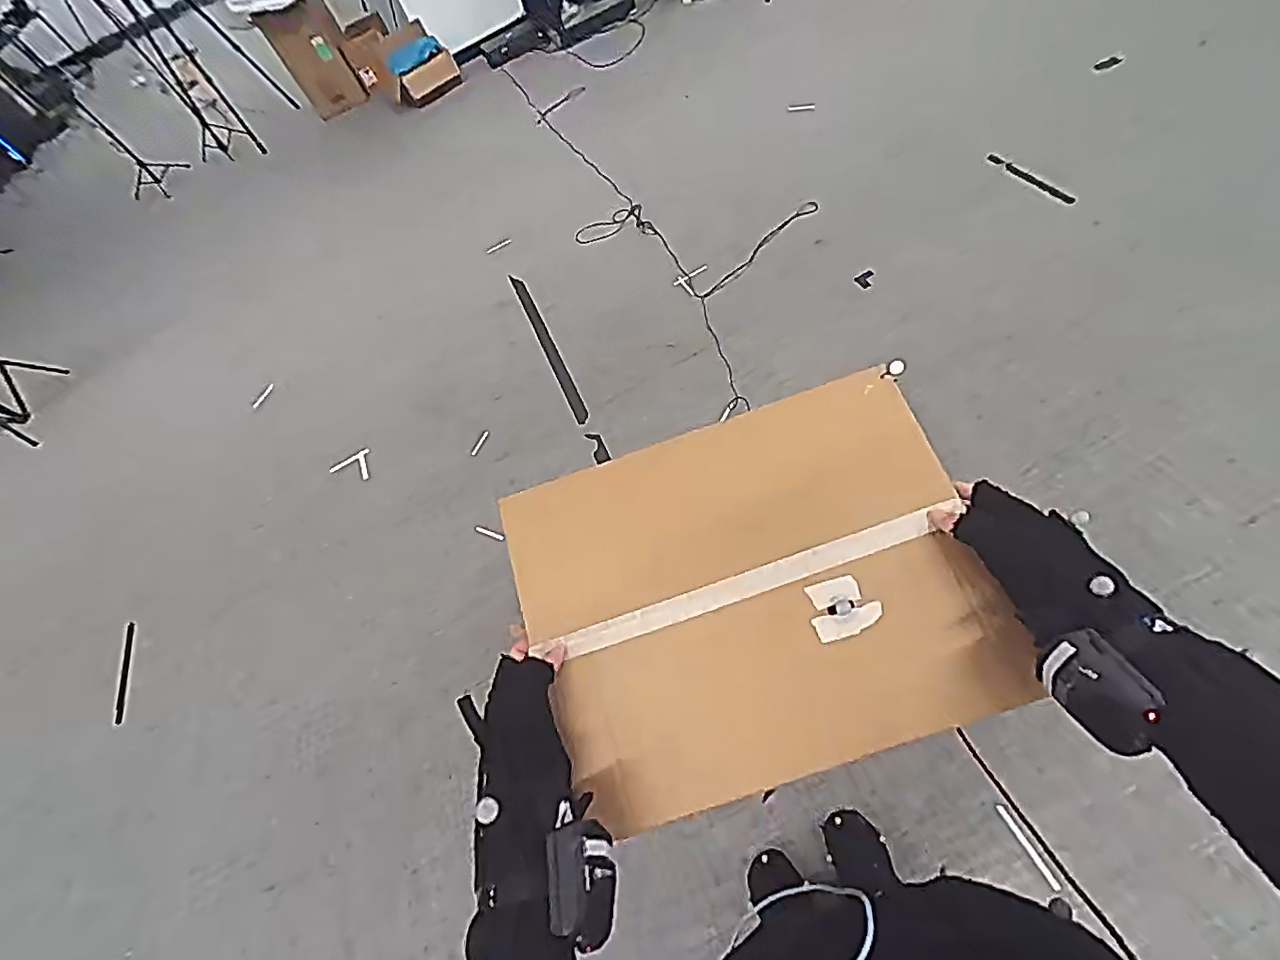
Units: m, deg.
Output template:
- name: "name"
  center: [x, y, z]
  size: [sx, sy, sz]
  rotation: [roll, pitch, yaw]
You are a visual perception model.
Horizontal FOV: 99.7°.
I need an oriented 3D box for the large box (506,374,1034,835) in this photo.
- name: "large box"
  center: [0.112, 0.143, 0.636]
  size: [0.408, 0.320, 0.320]
  rotation: [-20, 70, 1]
